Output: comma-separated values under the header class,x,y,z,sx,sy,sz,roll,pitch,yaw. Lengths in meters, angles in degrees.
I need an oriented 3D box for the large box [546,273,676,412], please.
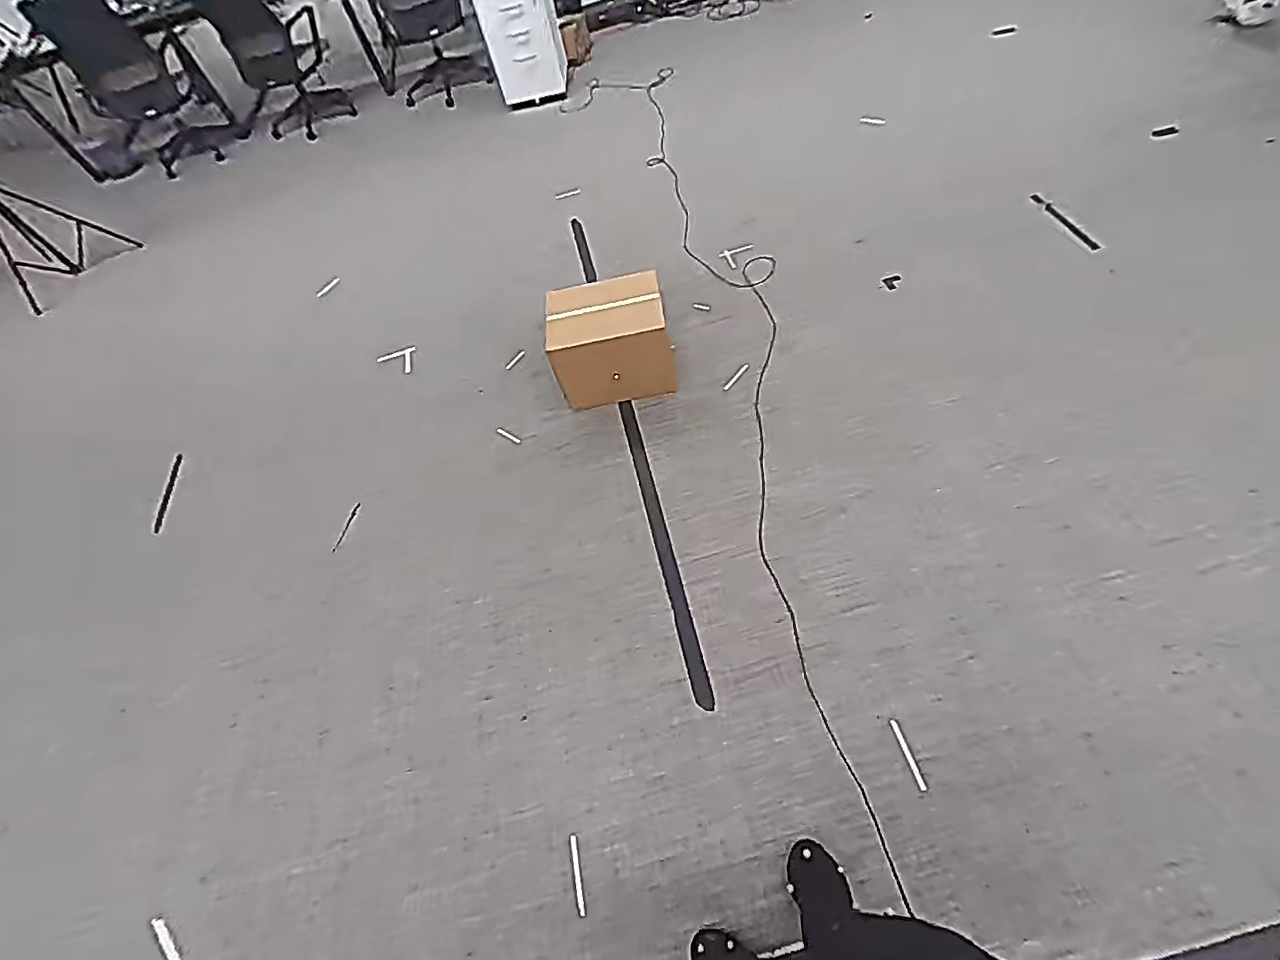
class,x,y,z,sx,sy,sz,roll,pitch,yaw
large box,-0.102,-0.489,1.959,0.408,0.320,0.320,-10,56,5
